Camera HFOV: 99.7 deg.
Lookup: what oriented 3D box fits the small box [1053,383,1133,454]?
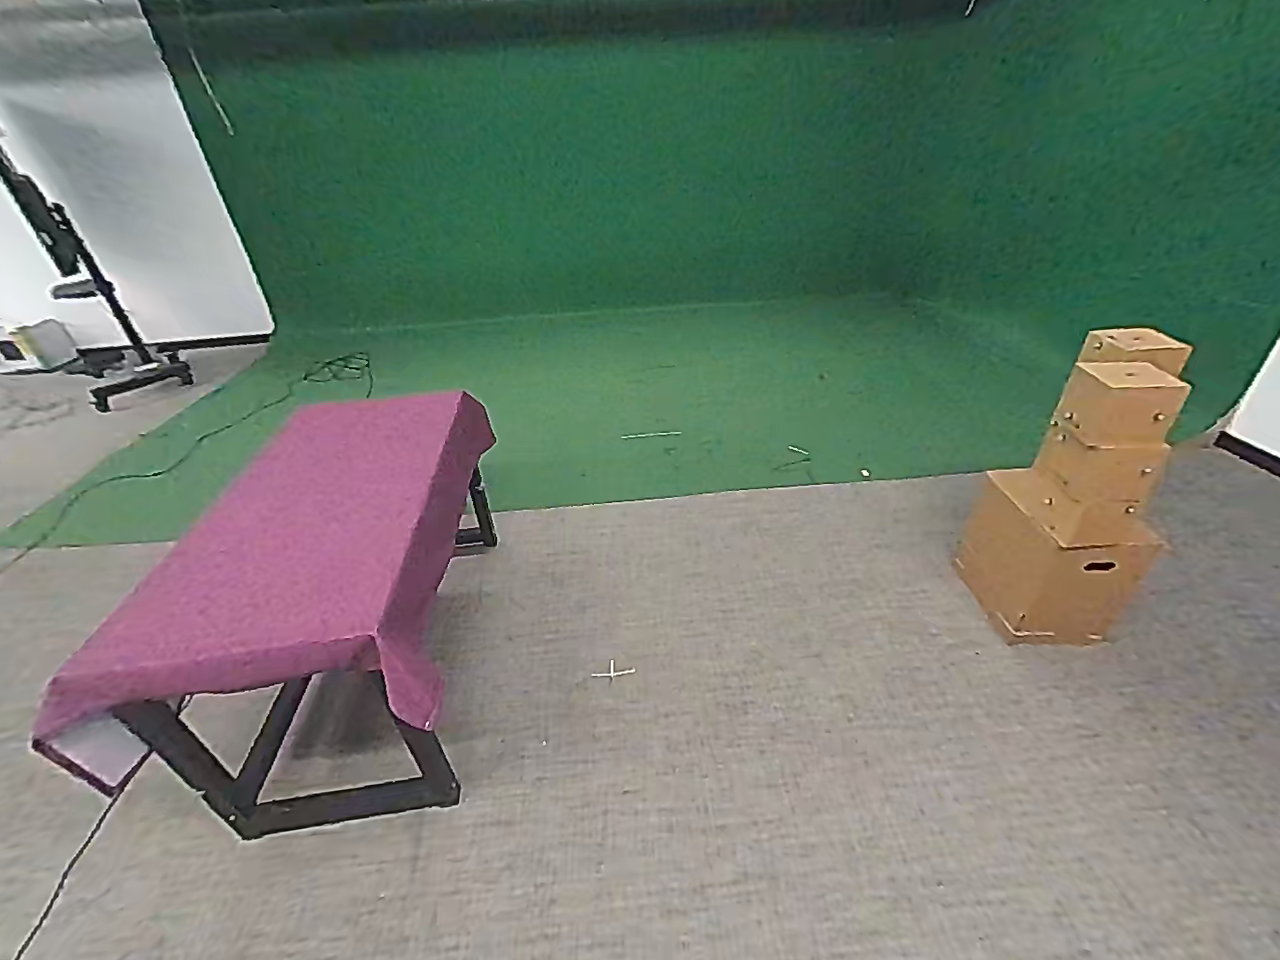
[{"bbox_3d":[1.433,-0.193,1.687,0.179,0.176,0.168,3,34,8],"label":"small box"}]

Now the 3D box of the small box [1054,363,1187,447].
[{"bbox_3d":[1.243,-0.196,1.415,0.179,0.176,0.168,0,33,7],"label":"small box"}]

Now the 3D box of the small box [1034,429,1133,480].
[{"bbox_3d":[1.440,-0.053,1.774,0.168,0.176,0.179,1,35,7],"label":"small box"}]

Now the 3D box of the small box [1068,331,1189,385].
[{"bbox_3d":[1.432,-0.333,1.600,0.179,0.176,0.168,-1,33,3],"label":"small box"}]

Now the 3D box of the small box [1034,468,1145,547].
[{"bbox_3d":[1.297,0.082,1.583,0.179,0.176,0.168,-4,33,0],"label":"small box"}]
